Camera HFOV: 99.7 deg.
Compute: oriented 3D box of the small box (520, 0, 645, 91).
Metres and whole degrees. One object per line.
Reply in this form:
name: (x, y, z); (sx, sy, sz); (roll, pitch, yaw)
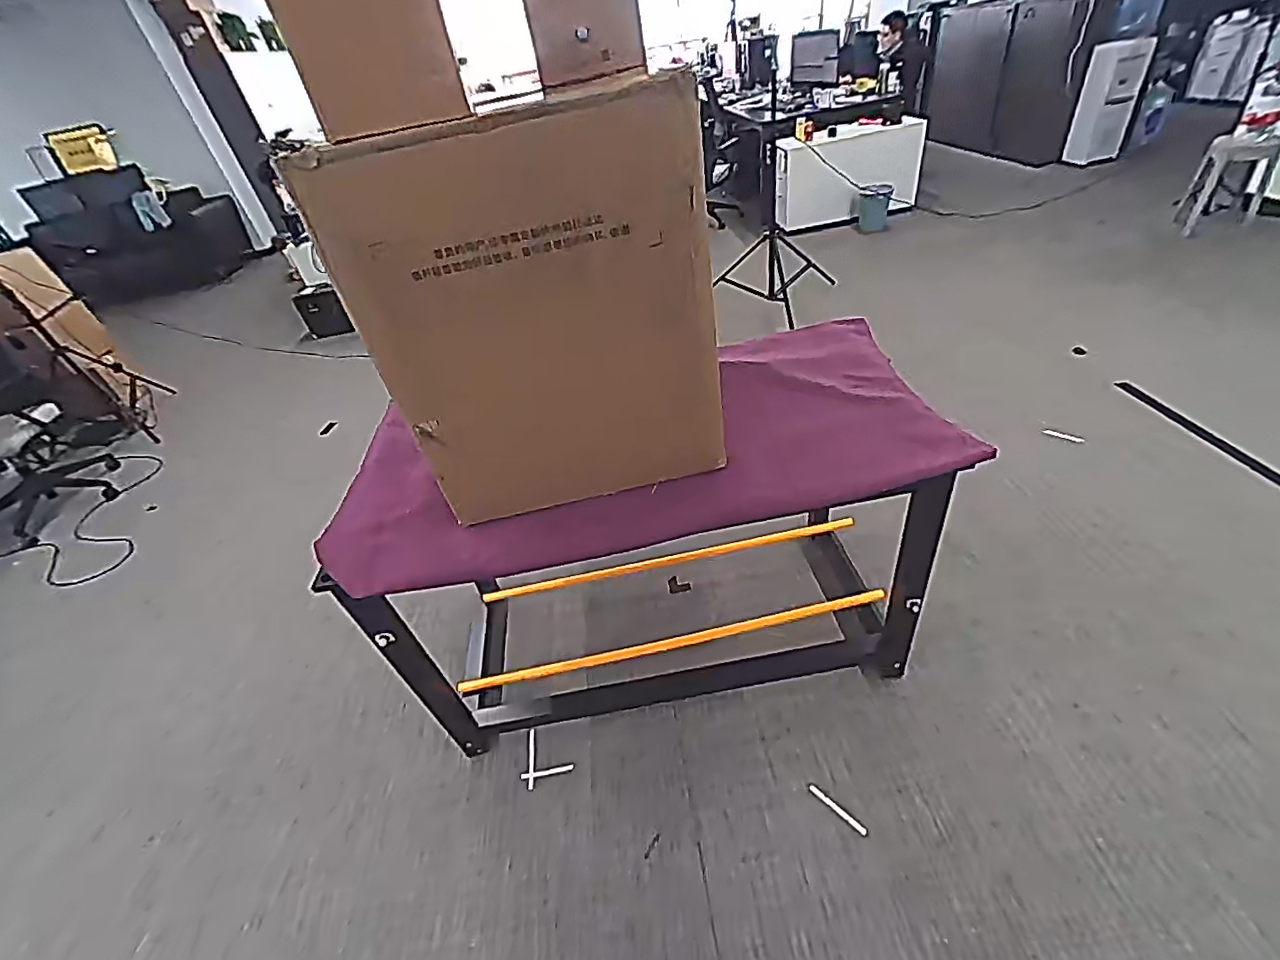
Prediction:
small box: (-0.093, -0.712, 0.826); (0.168, 0.176, 0.179); (-12, 39, 1)
